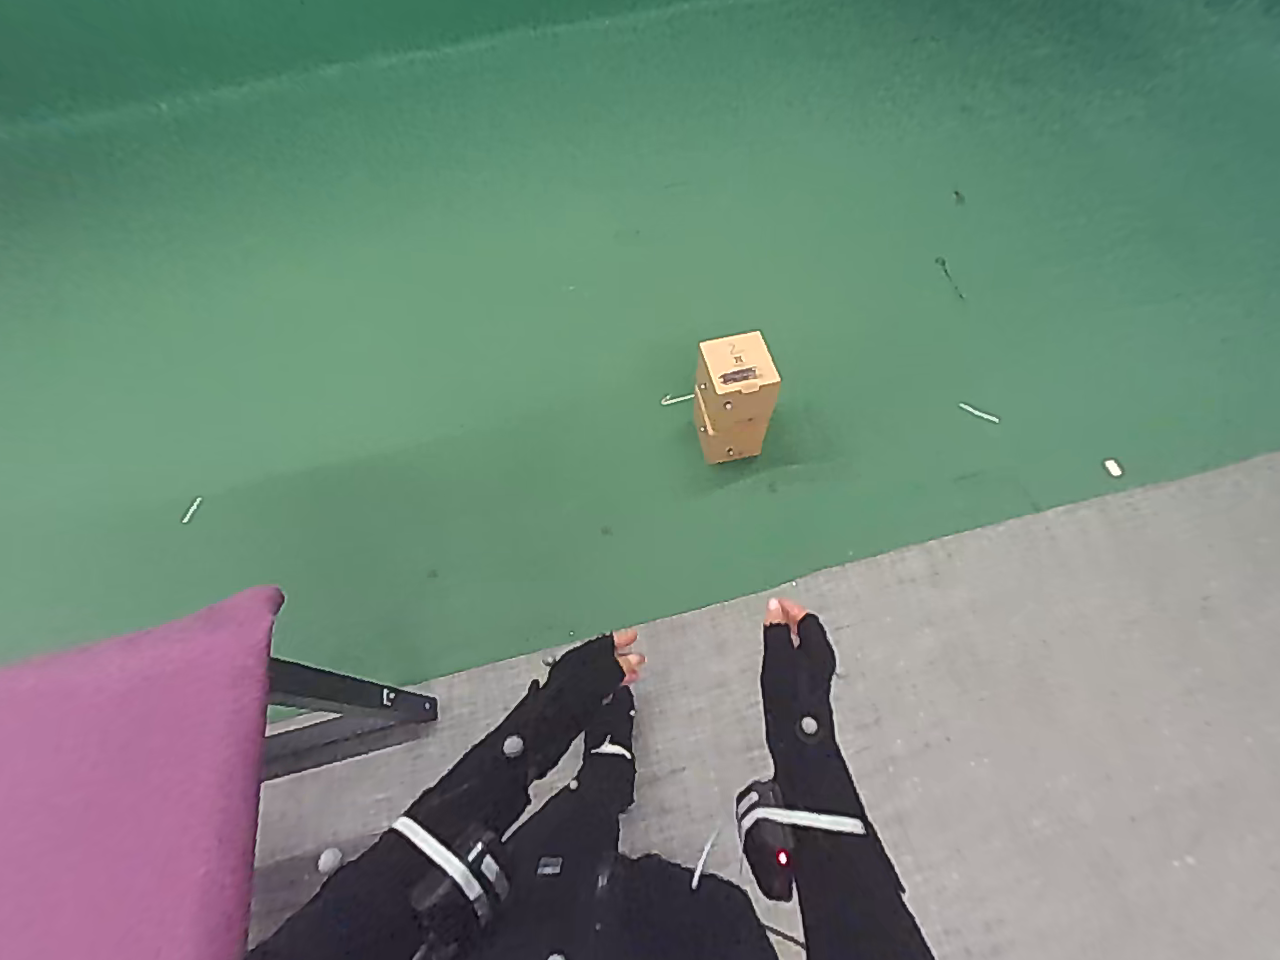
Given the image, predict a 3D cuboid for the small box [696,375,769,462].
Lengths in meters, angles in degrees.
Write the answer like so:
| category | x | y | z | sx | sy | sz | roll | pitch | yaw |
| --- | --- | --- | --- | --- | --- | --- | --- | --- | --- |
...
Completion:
| category | x | y | z | sx | sy | sz | roll | pitch | yaw |
| --- | --- | --- | --- | --- | --- | --- | --- | --- | --- |
| small box | 0.263 | -0.176 | 1.584 | 0.168 | 0.176 | 0.179 | -12 | 63 | -3 |
